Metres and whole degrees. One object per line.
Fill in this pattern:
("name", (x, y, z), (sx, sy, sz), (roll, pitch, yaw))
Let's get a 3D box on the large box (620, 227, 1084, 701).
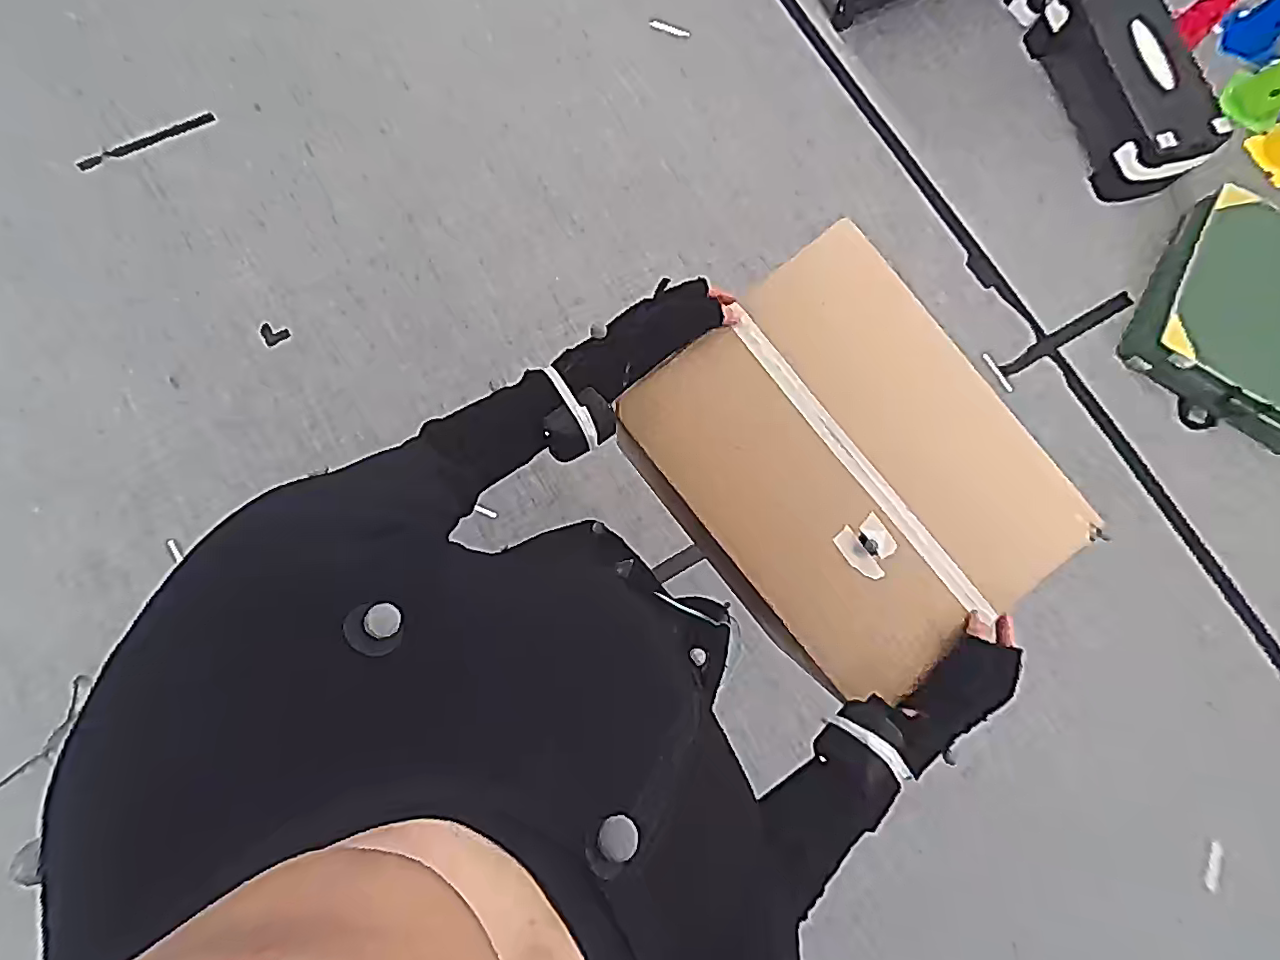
("large box", (0.213, -0.016, 0.700), (0.320, 0.320, 0.408), (-39, 90, -2))
